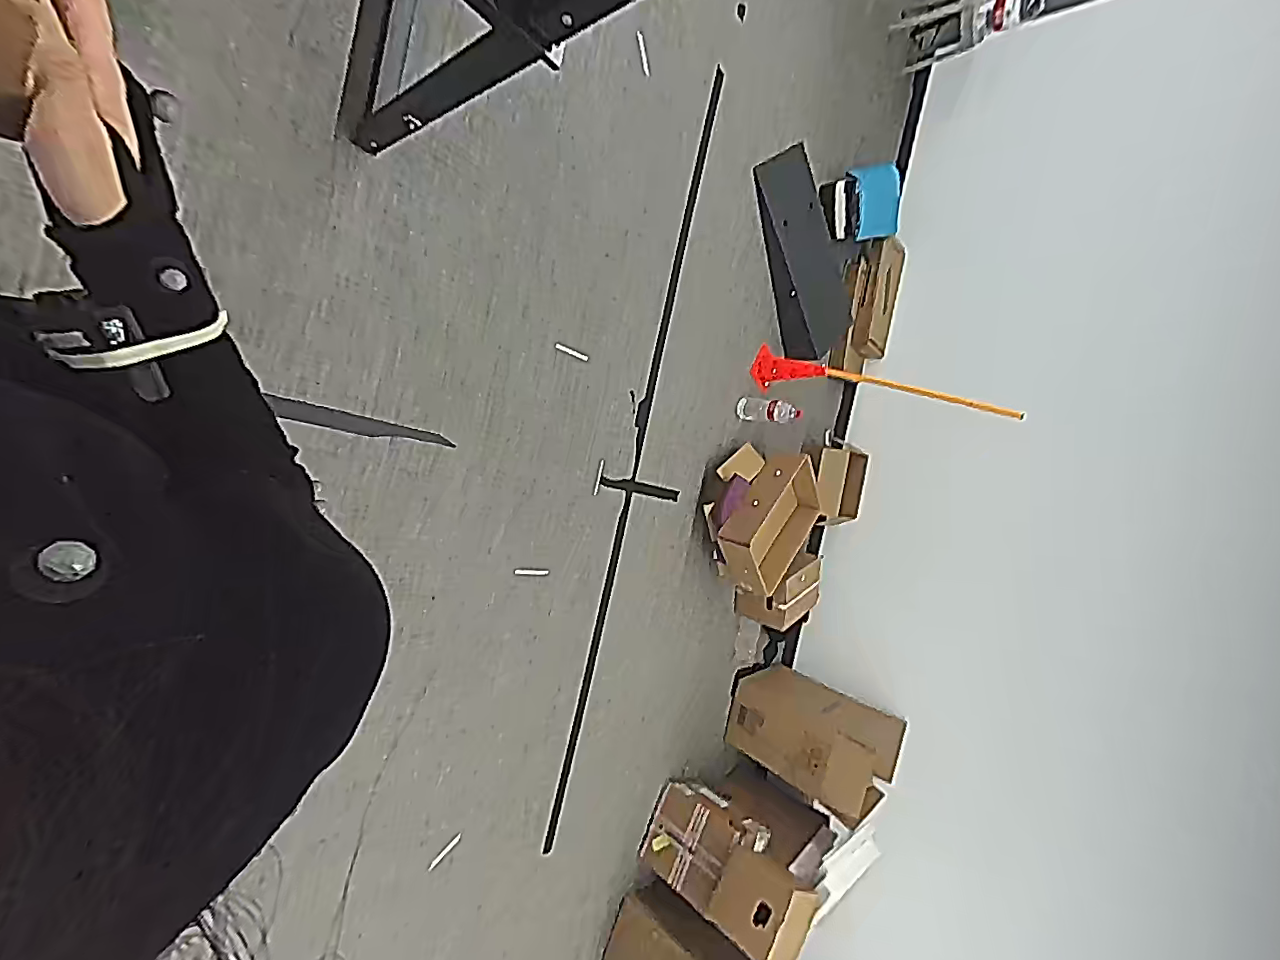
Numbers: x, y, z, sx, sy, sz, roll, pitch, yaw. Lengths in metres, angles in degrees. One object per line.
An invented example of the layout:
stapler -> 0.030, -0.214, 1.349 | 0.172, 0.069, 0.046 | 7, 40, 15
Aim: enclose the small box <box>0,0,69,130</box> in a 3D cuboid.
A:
small box -> -0.302, -0.240, 0.160 | 0.168, 0.176, 0.179 | -10, 105, -50
